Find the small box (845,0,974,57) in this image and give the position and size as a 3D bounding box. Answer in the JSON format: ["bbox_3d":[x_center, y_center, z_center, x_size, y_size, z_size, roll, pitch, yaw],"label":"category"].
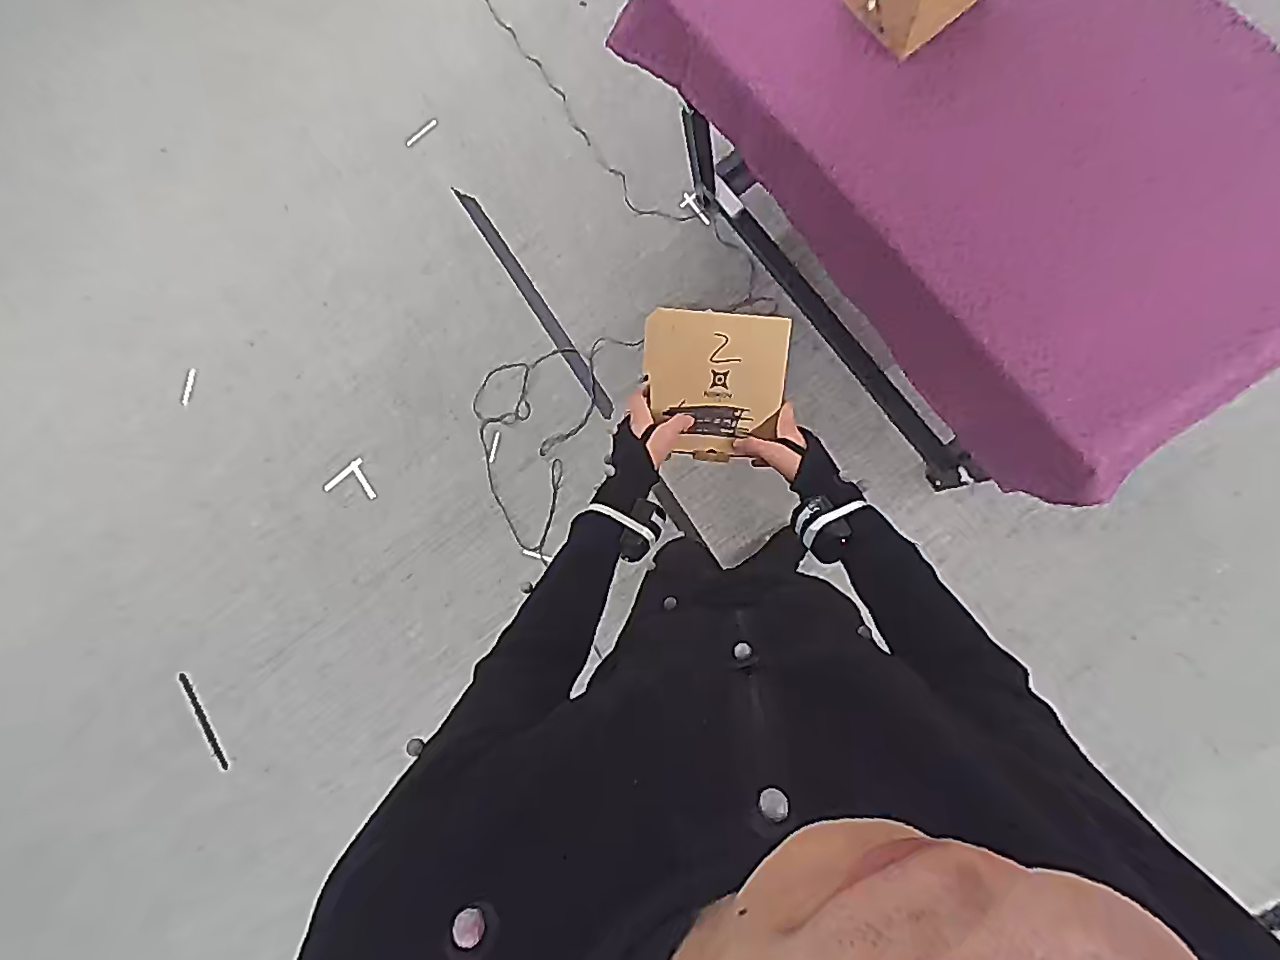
[{"bbox_3d":[0.453,-0.842,0.856,0.179,0.176,0.168,-36,79,6],"label":"small box"}]
